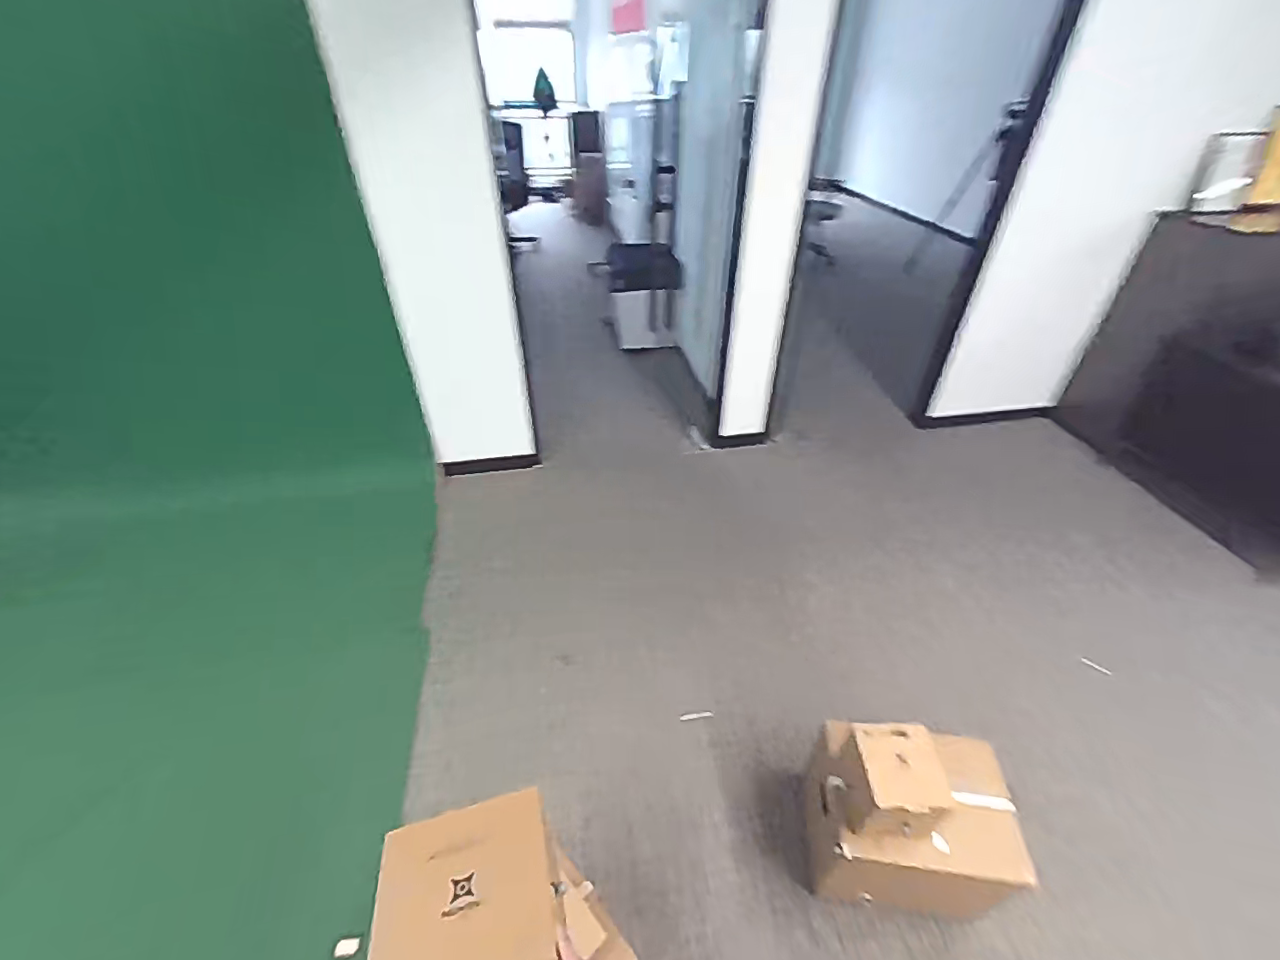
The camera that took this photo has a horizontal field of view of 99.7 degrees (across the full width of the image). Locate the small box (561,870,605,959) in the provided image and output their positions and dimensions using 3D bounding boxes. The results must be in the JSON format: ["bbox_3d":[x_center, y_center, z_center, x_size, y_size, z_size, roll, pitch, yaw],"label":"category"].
[{"bbox_3d":[-0.180,0.835,0.969,0.179,0.176,0.168,-30,48,-33],"label":"small box"}]

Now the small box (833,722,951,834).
[{"bbox_3d":[0.547,0.664,1.202,0.168,0.176,0.179,1,40,0],"label":"small box"}]

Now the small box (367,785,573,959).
[{"bbox_3d":[-0.162,0.465,0.555,0.168,0.176,0.179,-10,27,-11],"label":"small box"}]
